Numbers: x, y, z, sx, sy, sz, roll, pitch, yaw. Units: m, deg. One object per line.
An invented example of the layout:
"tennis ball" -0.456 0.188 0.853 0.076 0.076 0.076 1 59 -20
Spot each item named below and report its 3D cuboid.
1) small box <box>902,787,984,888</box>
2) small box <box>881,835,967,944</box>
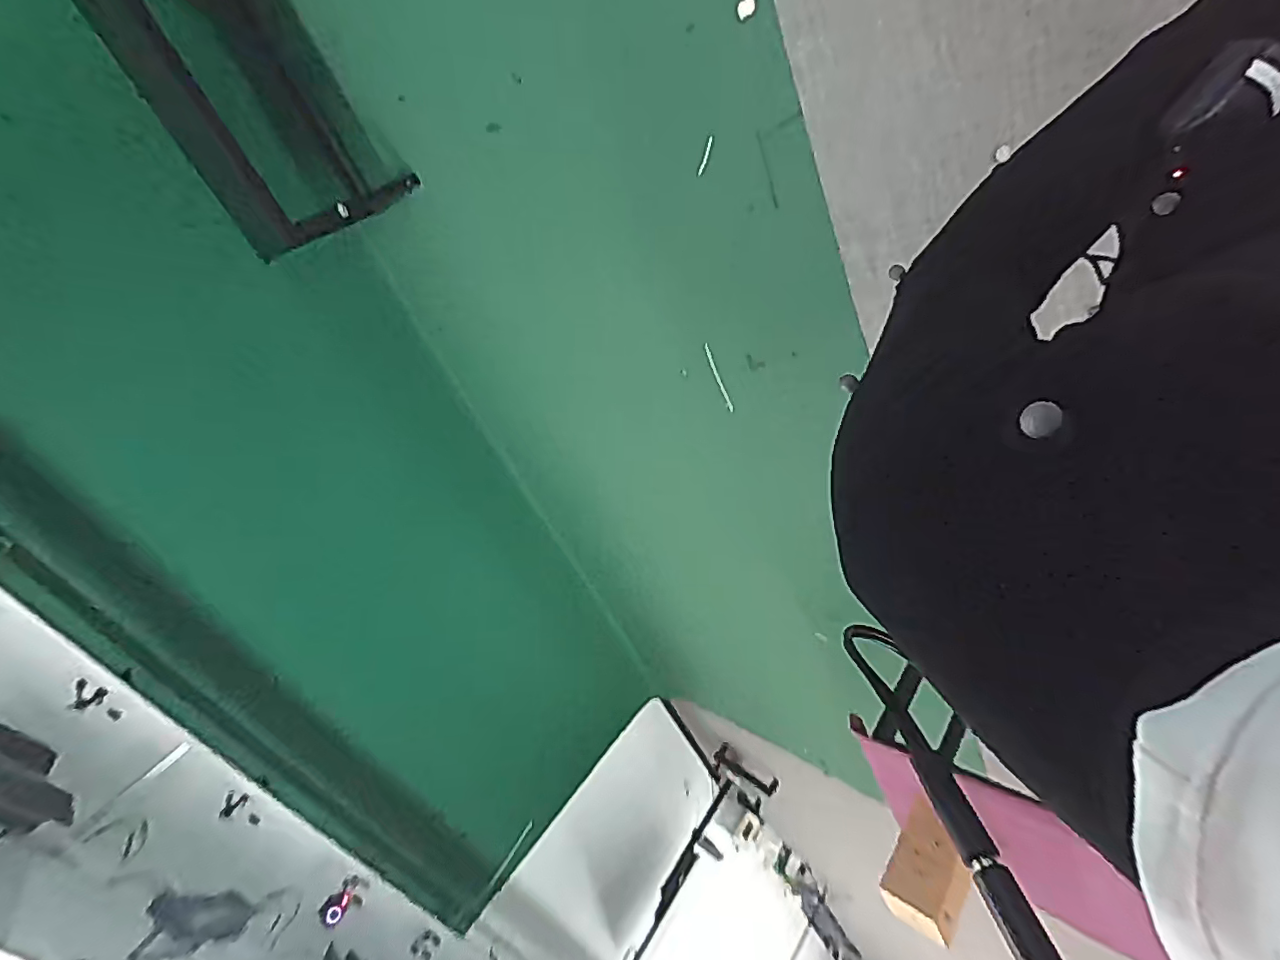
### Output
"small box" 0.959 1.117 1.702 0.168 0.176 0.179 2 130 50
"small box" 0.856 1.219 1.622 0.168 0.176 0.179 5 132 50
